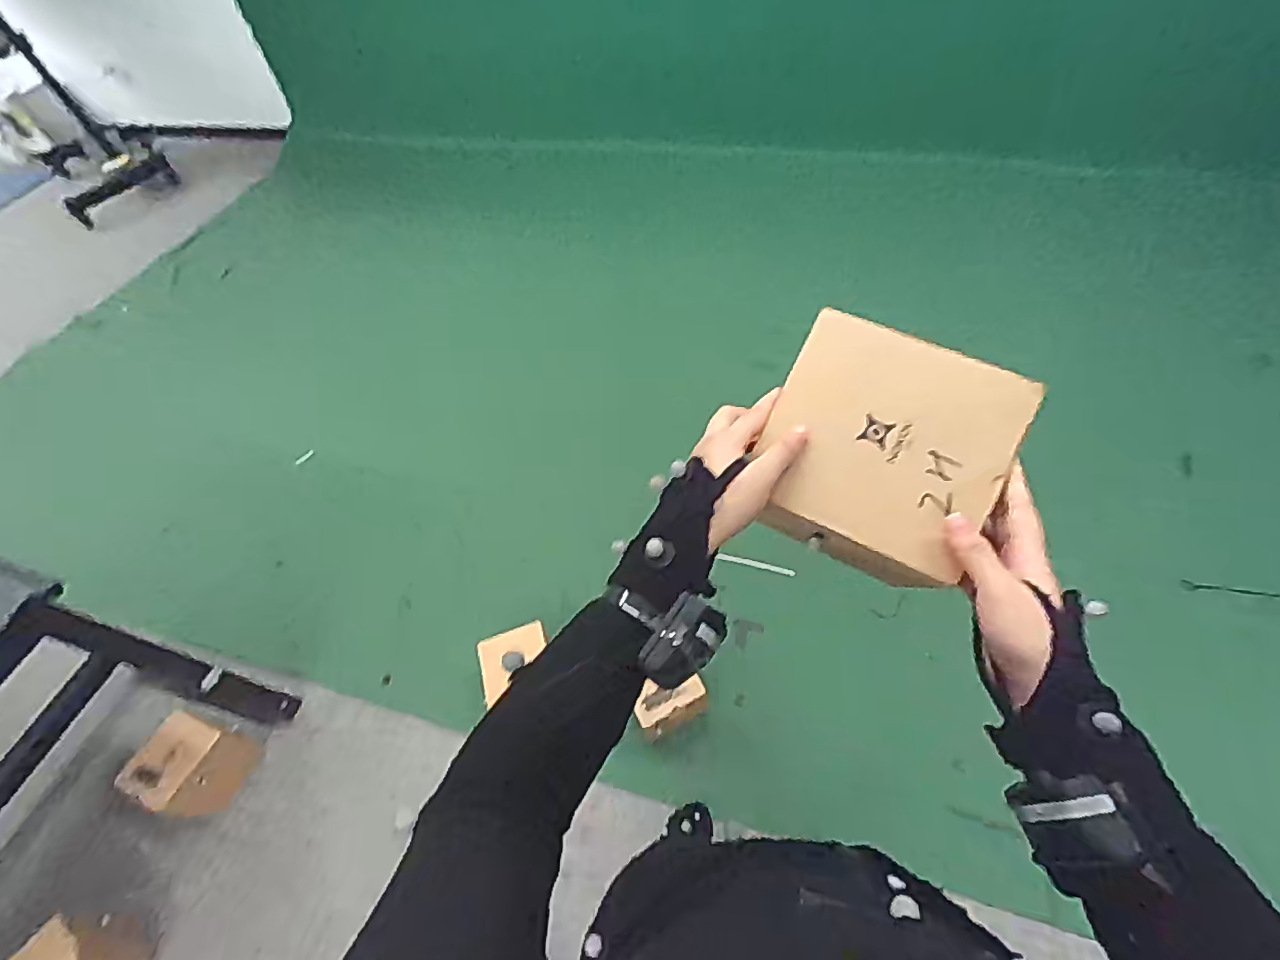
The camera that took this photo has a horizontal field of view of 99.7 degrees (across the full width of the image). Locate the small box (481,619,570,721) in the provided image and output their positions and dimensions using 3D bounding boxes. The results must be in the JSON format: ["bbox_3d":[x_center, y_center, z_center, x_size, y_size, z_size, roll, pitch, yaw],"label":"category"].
[{"bbox_3d":[-0.288,0.487,1.379,0.168,0.176,0.179,-19,56,-7],"label":"small box"}]

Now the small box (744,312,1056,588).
[{"bbox_3d":[0.207,-0.015,0.486,0.179,0.176,0.168,26,87,14],"label":"small box"}]

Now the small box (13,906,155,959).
[{"bbox_3d":[-1.160,1.023,1.111,0.168,0.176,0.179,29,65,24],"label":"small box"}]

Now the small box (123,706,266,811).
[{"bbox_3d":[-1.083,0.689,1.331,0.168,0.176,0.179,15,58,16],"label":"small box"}]
